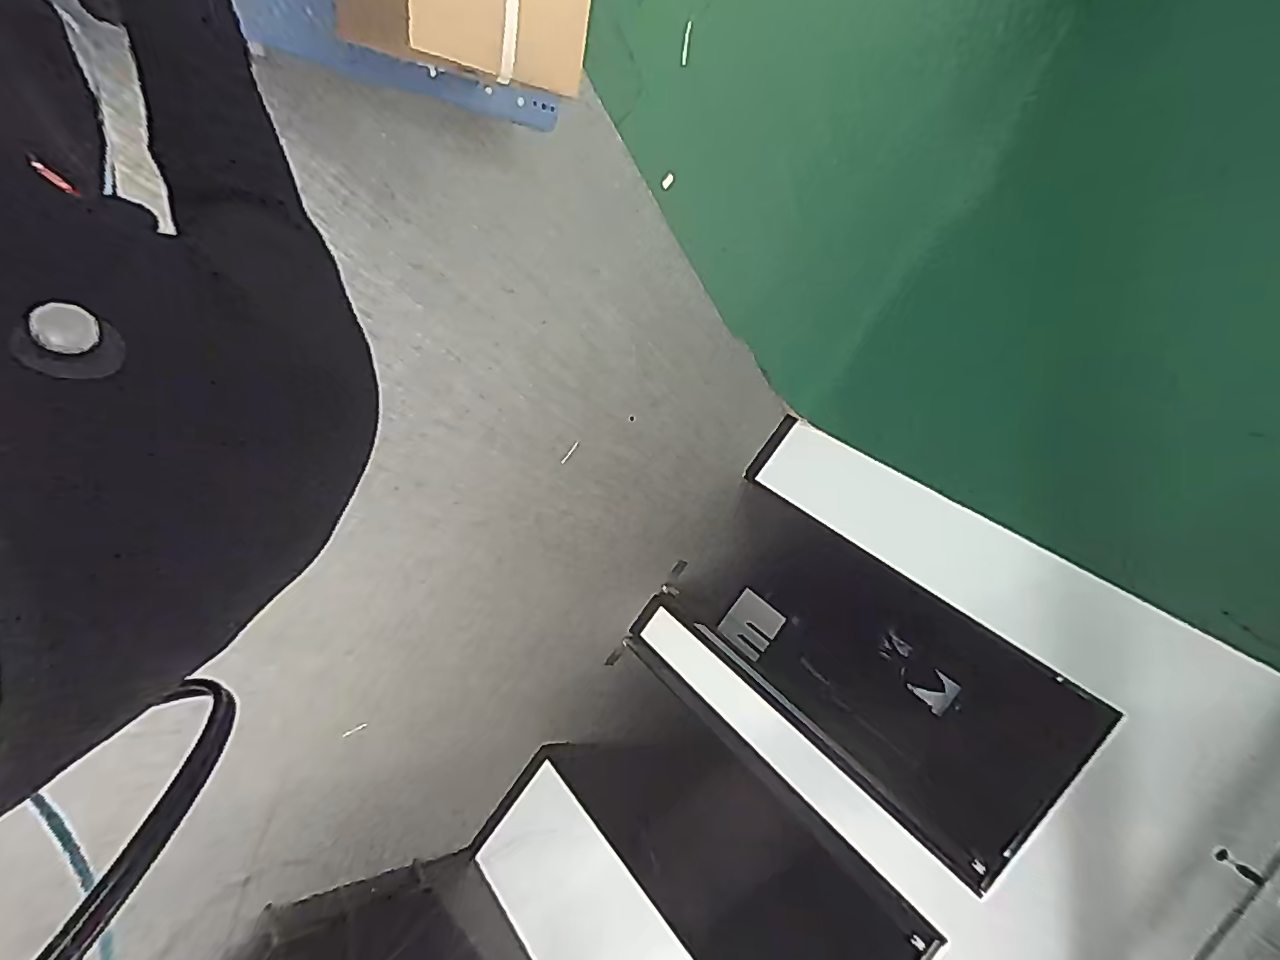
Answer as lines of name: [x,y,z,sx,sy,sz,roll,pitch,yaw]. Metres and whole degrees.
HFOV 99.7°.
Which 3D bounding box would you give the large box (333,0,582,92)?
large box: [-0.292,-0.905,0.865,0.320,0.320,0.408,-16,131,-41]
